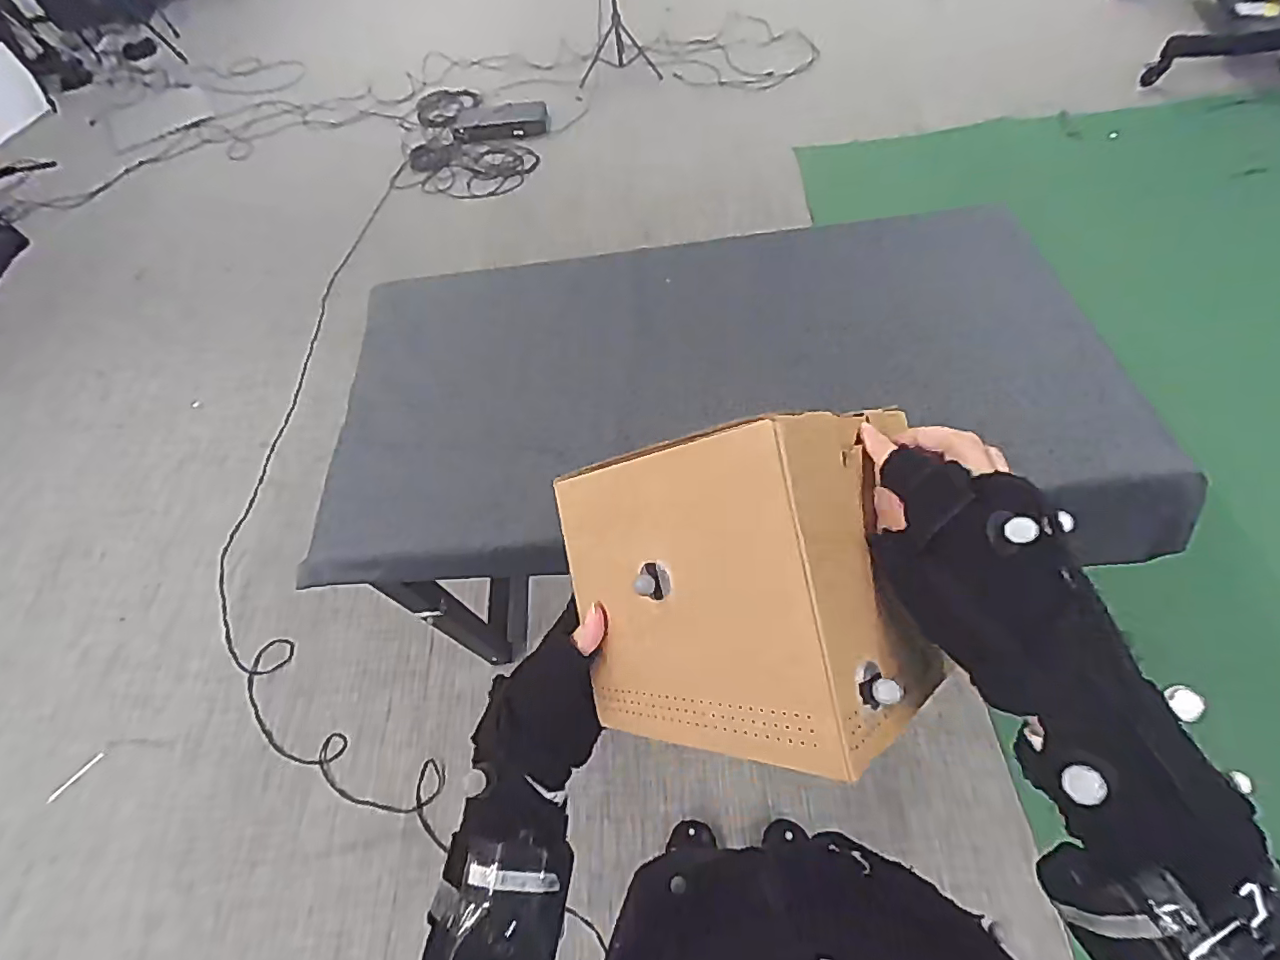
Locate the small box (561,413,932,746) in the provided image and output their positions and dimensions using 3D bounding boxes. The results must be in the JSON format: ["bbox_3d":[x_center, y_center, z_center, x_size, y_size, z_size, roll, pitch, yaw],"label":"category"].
[{"bbox_3d":[0.074,0.059,0.372,0.179,0.168,0.176,-15,85,45],"label":"small box"}]
